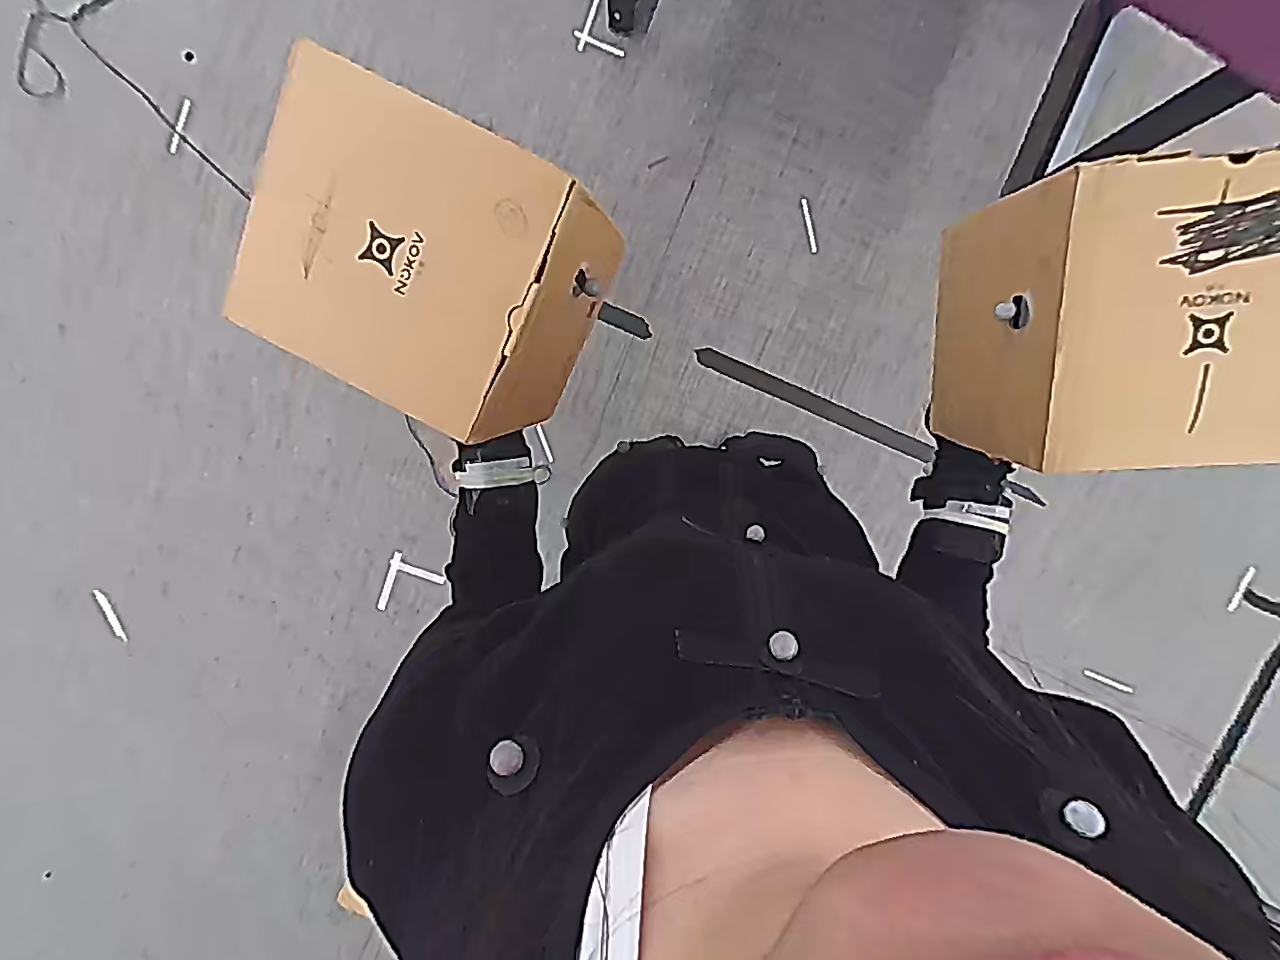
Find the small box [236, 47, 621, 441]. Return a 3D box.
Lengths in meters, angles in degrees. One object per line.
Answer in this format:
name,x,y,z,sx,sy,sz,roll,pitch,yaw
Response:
small box,-0.130,-0.148,0.392,0.179,0.176,0.168,27,103,2

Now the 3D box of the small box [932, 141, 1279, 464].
small box,0.332,-0.116,0.388,0.168,0.176,0.179,-3,104,6
